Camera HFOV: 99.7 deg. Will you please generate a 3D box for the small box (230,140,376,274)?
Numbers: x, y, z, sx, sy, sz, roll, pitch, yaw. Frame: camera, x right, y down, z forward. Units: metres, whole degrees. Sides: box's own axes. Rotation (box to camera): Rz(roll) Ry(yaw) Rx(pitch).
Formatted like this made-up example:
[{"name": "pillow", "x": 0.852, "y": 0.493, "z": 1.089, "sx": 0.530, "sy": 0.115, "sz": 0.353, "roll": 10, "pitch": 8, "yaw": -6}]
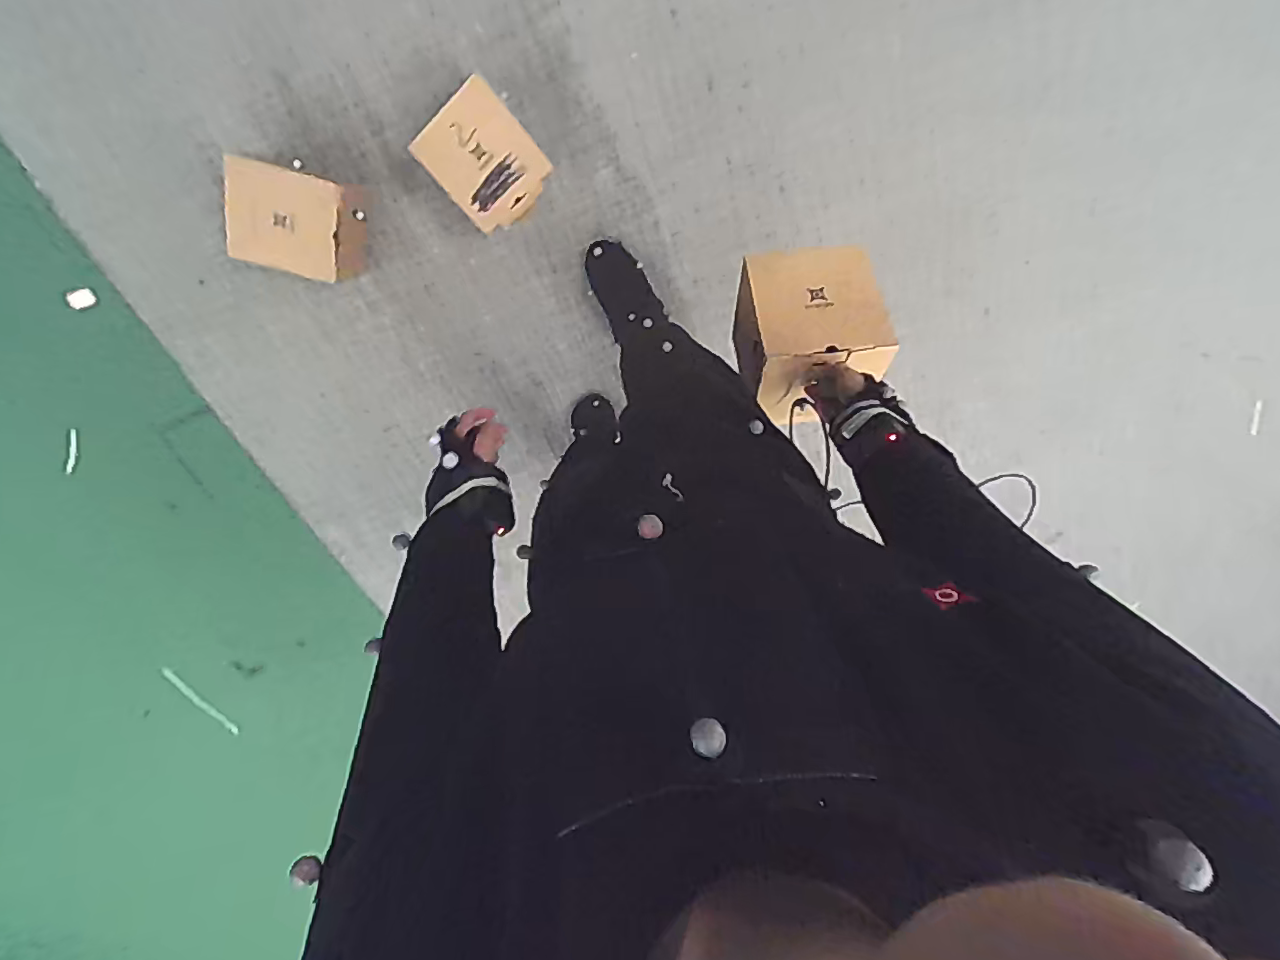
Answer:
[{"name": "small box", "x": -0.595, "y": -0.490, "z": 0.975, "sx": 0.179, "sy": 0.176, "sz": 0.168, "roll": 13, "pitch": 116, "yaw": -12}]
